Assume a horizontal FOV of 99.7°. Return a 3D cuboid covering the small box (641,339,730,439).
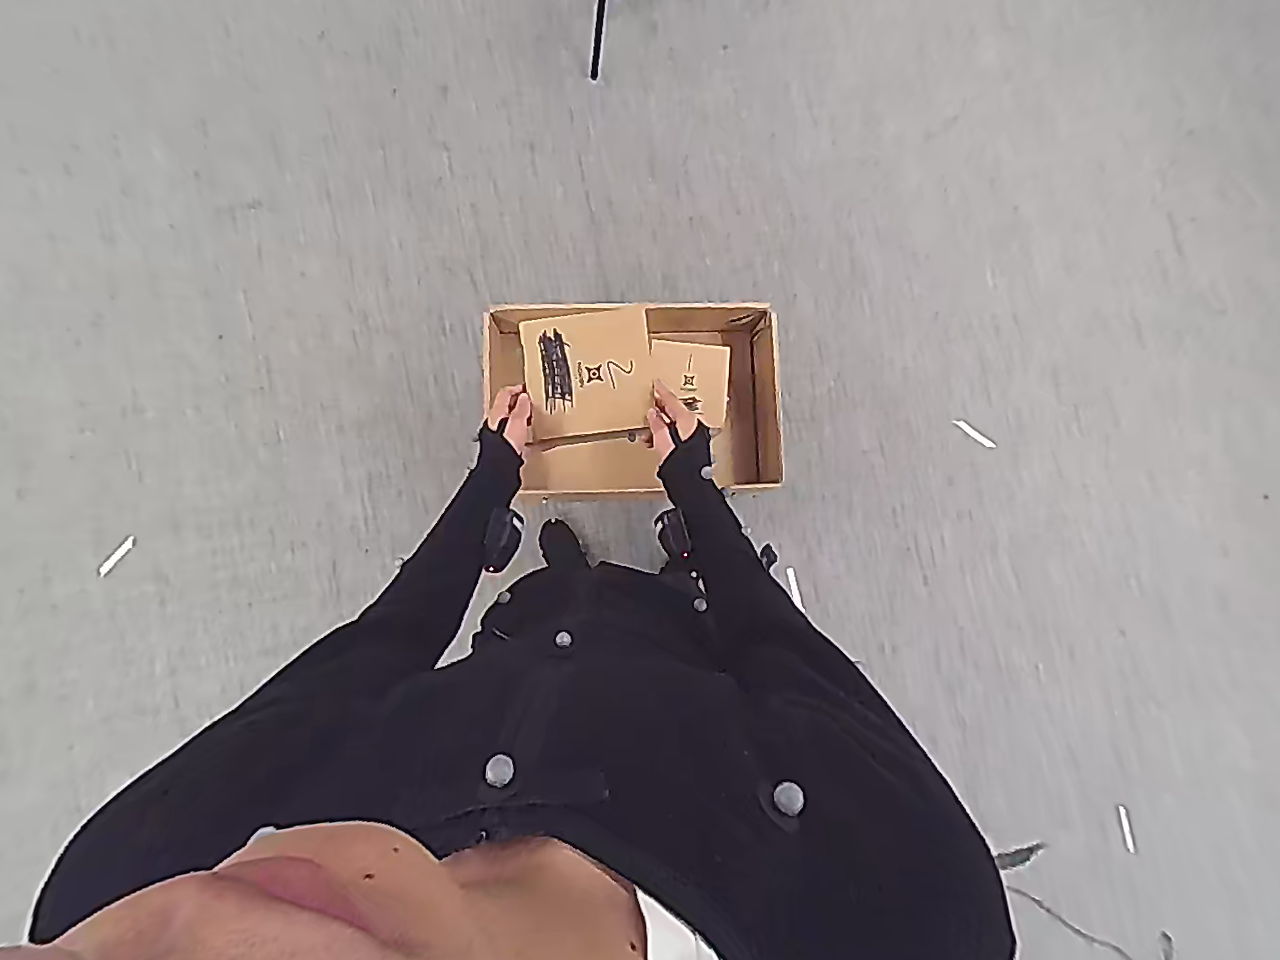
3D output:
[{"bbox_3d":[0.093,-0.190,1.179,0.168,0.176,0.179,5,85,-3],"label":"small box"}]
